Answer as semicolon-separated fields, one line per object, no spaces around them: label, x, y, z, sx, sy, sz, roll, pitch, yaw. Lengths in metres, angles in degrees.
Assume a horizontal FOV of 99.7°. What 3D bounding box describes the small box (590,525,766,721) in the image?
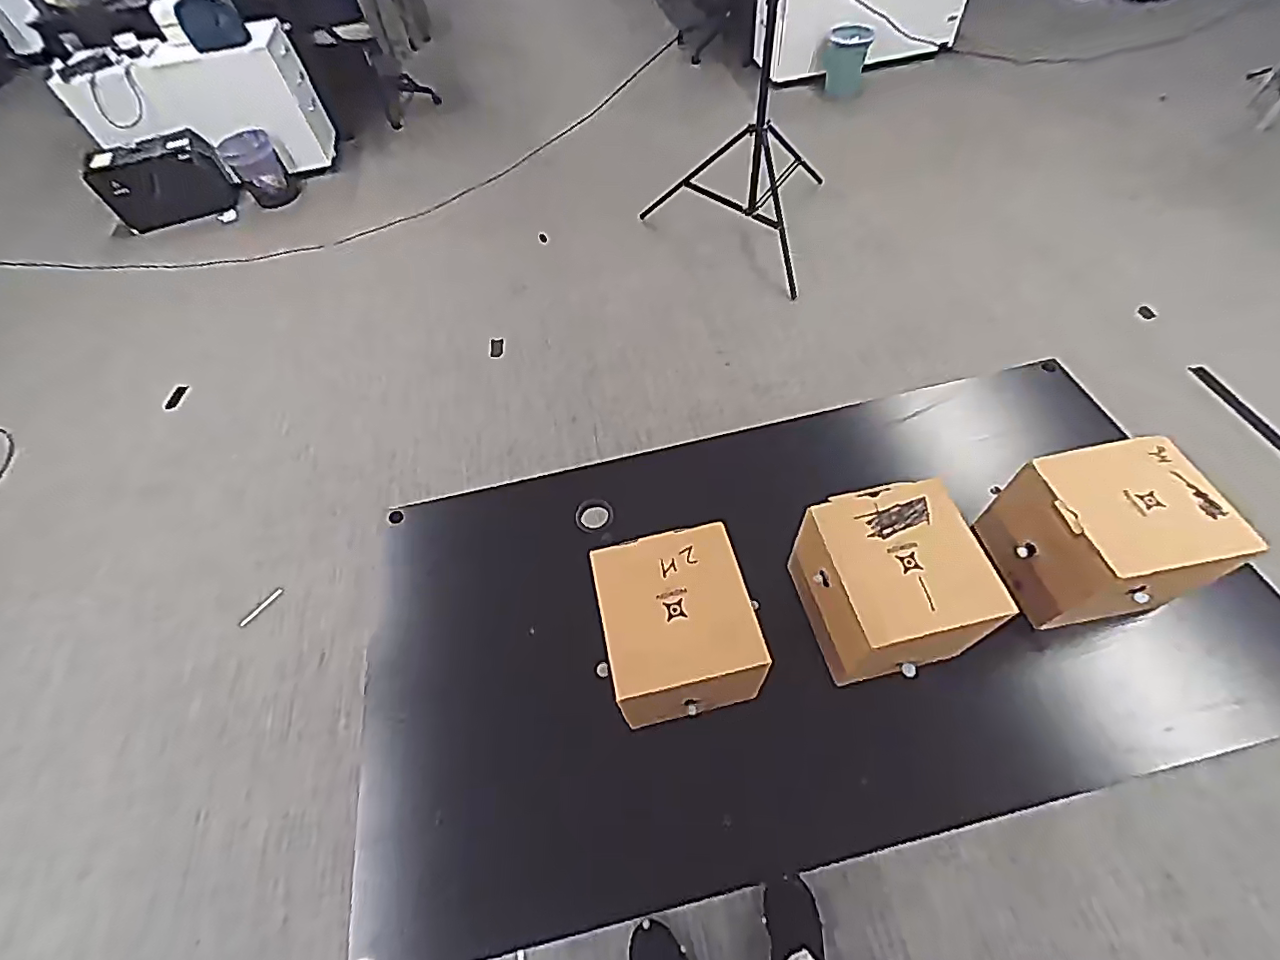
small box;0.043;0.183;0.665;0.168;0.176;0.179;-12;56;-3

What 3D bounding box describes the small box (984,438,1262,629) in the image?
small box;0.577;0.074;0.687;0.179;0.176;0.168;-11;56;0

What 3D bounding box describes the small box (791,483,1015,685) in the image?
small box;0.303;0.133;0.674;0.168;0.176;0.179;-13;57;-3
